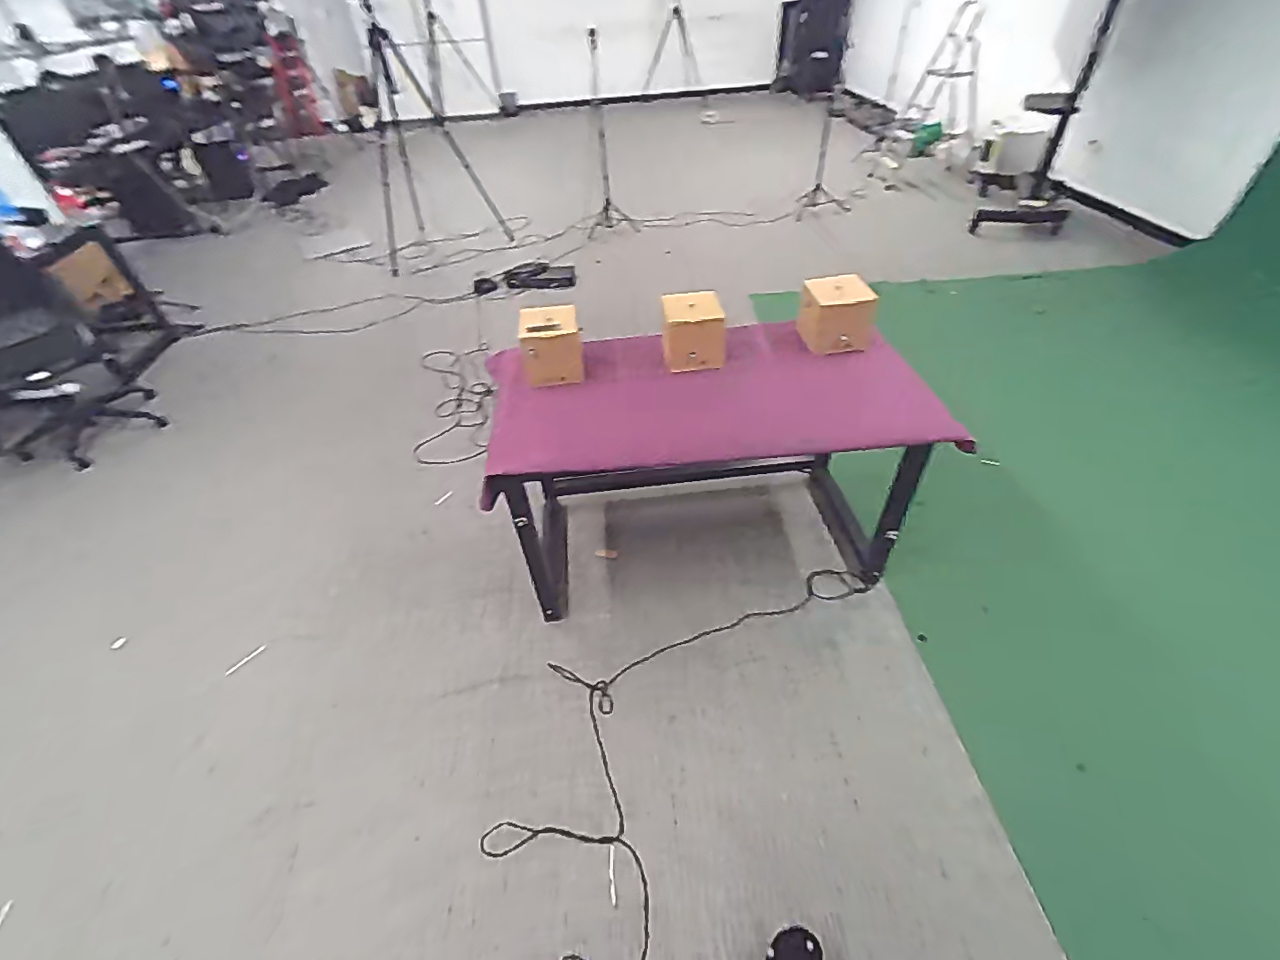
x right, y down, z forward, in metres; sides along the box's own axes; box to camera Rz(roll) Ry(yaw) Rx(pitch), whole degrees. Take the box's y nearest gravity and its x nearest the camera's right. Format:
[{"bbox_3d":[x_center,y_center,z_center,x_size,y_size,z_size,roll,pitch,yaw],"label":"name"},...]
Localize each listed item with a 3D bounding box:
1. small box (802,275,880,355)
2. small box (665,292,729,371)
[{"bbox_3d":[0.605,-0.504,1.654,0.168,0.176,0.179,-8,44,0],"label":"small box"},{"bbox_3d":[0.166,-0.450,1.638,0.168,0.176,0.179,-6,45,-3],"label":"small box"}]
